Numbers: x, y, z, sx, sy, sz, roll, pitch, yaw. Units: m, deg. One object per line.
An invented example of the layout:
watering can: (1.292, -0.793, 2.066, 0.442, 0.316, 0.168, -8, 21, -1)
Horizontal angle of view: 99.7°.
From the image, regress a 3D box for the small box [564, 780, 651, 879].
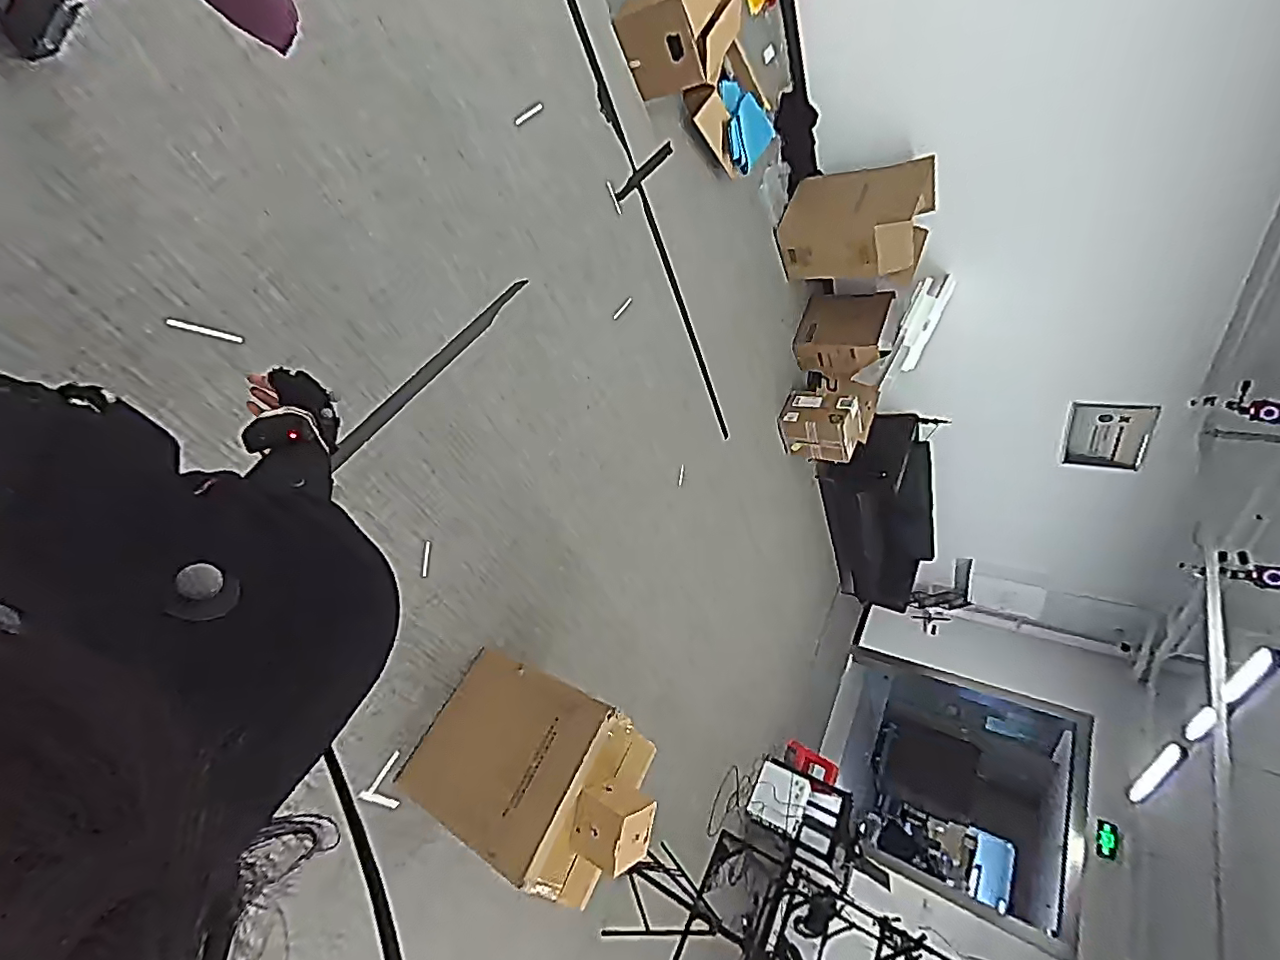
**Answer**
small box: (-0.098, 1.026, 1.605, 0.179, 0.176, 0.168, 20, 81, -53)
